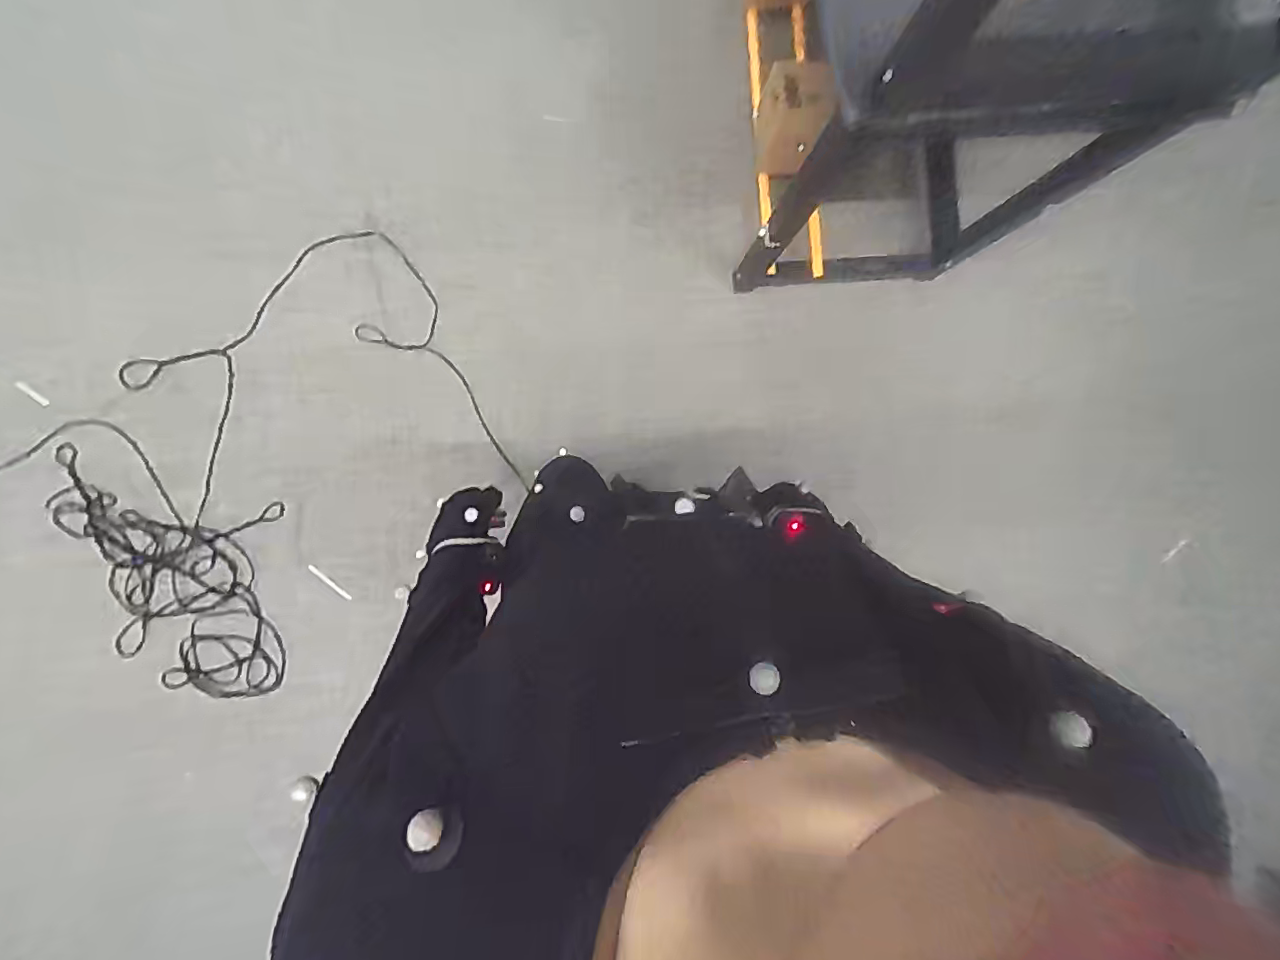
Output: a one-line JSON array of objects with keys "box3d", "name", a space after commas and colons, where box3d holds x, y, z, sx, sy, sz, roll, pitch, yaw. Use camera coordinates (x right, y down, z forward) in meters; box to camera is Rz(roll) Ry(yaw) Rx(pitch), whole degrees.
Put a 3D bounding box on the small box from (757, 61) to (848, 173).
[{"box3d": [0.386, -0.874, 1.315, 0.179, 0.176, 0.168, -1, 90, -3], "name": "small box"}]
